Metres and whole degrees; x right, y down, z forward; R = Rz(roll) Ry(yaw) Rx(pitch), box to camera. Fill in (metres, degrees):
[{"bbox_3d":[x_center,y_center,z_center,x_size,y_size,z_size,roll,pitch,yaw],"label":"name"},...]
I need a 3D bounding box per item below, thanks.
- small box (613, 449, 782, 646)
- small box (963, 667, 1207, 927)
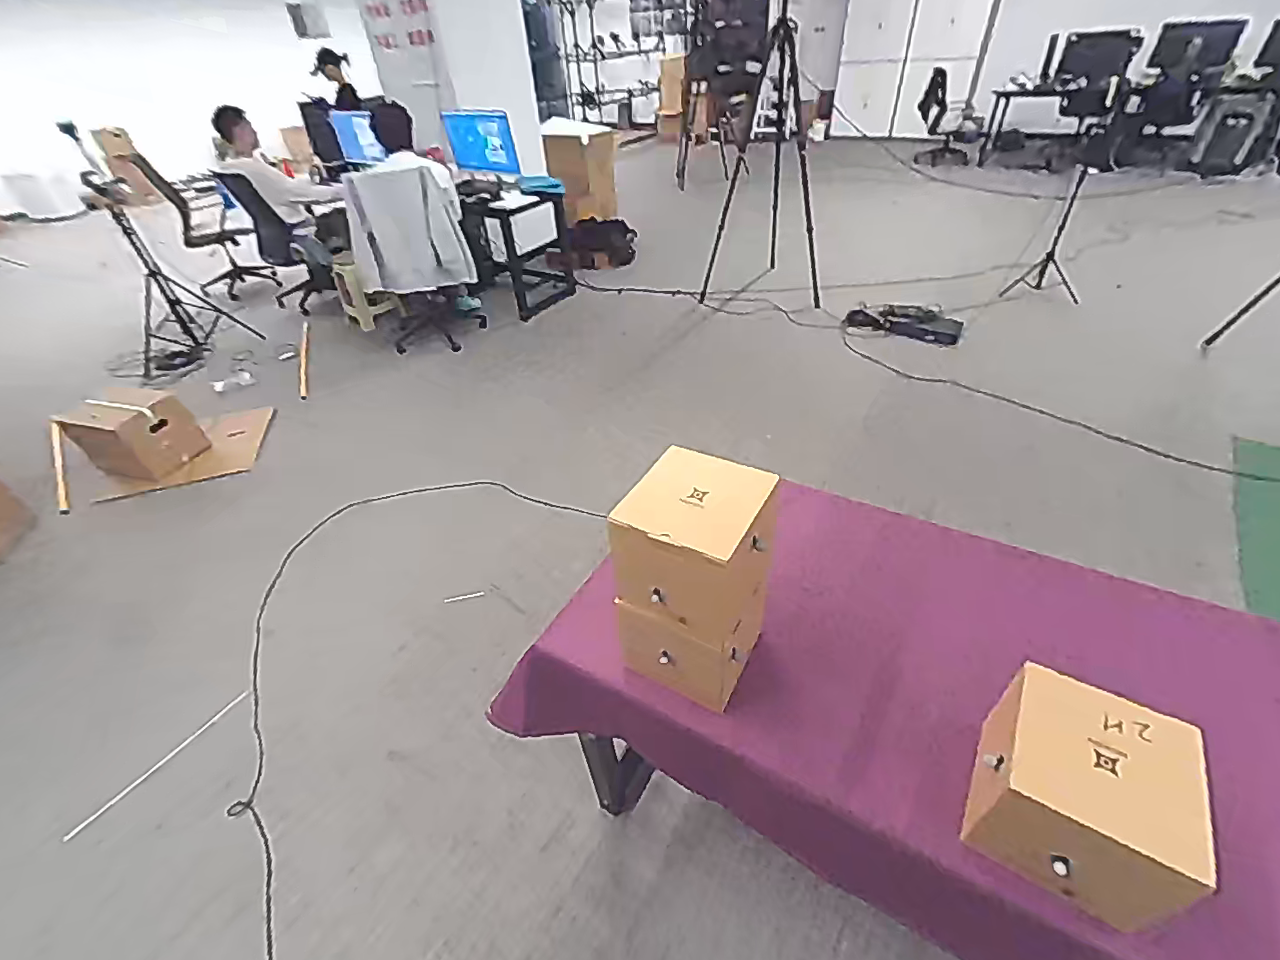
[{"bbox_3d":[0.080,0.089,0.745,0.168,0.176,0.179,19,45,26],"label":"small box"},{"bbox_3d":[0.500,0.365,0.629,0.168,0.176,0.179,21,46,27],"label":"small box"}]
